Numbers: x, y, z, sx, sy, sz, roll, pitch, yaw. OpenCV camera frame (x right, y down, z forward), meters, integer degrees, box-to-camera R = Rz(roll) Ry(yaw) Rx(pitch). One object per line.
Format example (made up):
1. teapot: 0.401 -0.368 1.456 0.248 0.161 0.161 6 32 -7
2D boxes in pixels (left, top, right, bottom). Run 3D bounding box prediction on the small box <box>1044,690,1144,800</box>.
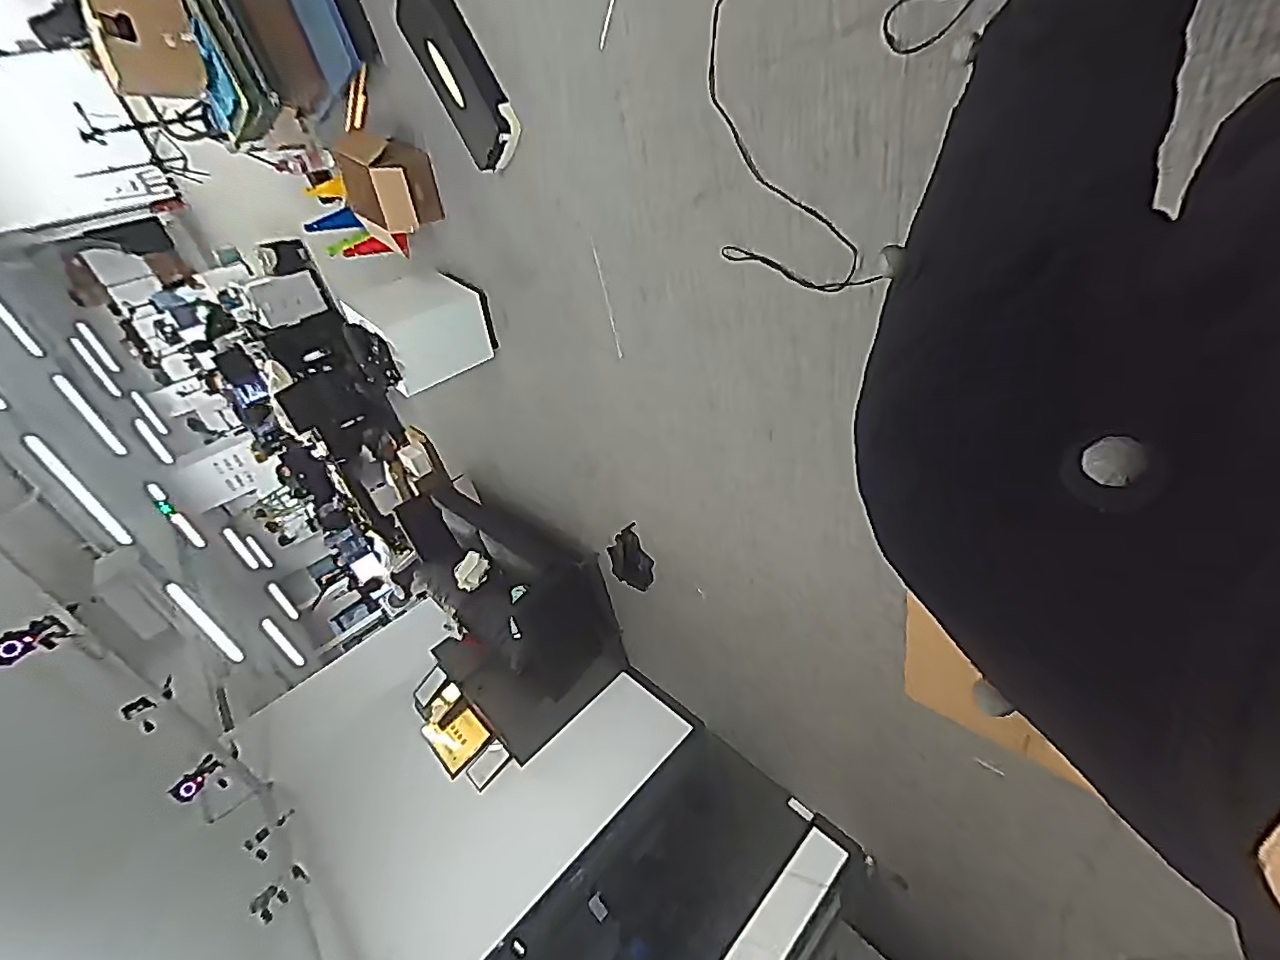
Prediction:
1. small box: 1.259 0.728 1.500 0.168 0.176 0.179 21 135 44
